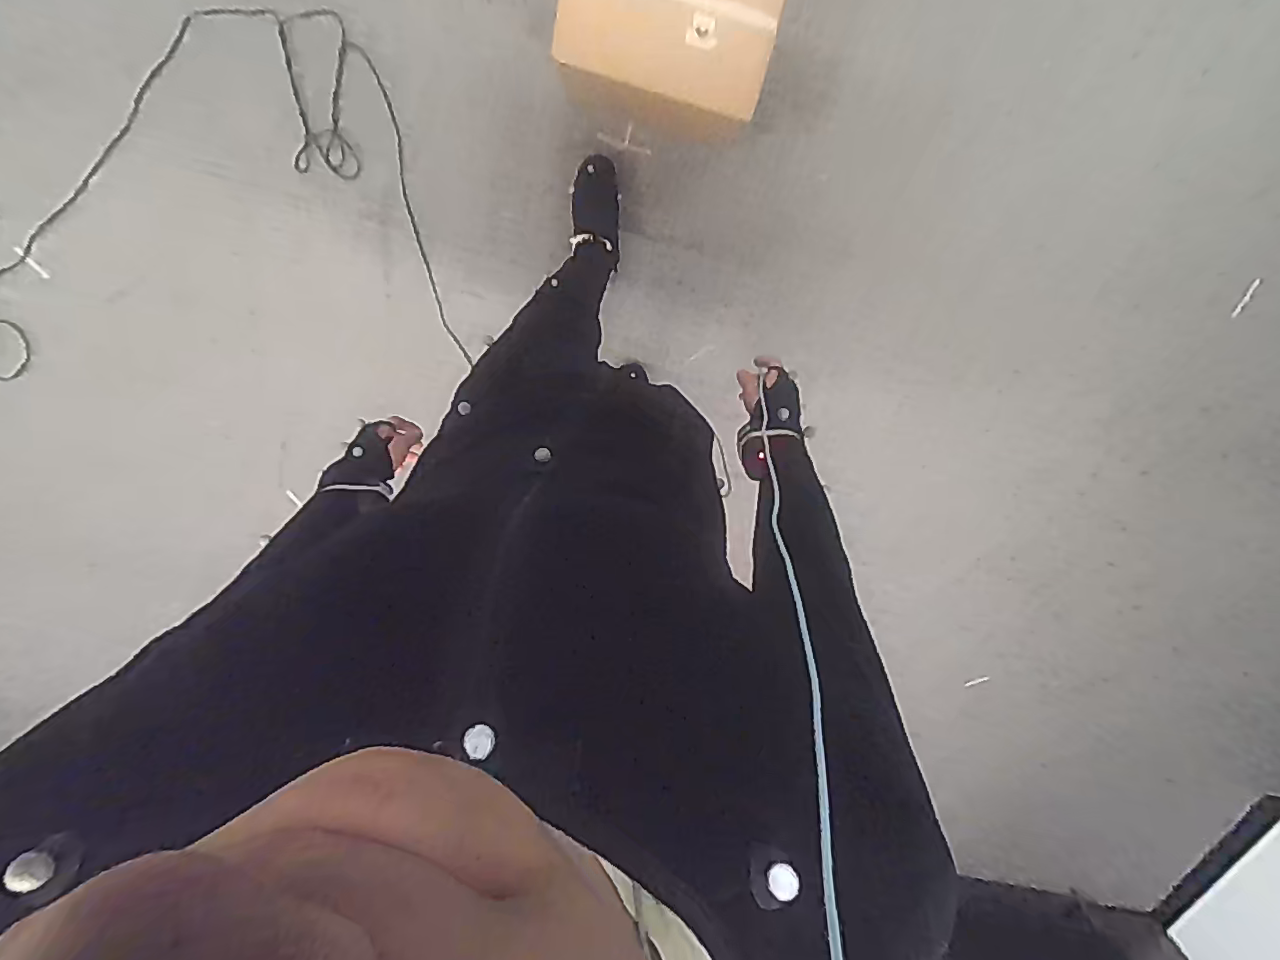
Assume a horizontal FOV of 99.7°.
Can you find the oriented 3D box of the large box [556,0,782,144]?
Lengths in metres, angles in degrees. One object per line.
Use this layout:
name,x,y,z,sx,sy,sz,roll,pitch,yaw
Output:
large box,0.057,-0.956,1.133,0.408,0.320,0.320,12,112,-7
